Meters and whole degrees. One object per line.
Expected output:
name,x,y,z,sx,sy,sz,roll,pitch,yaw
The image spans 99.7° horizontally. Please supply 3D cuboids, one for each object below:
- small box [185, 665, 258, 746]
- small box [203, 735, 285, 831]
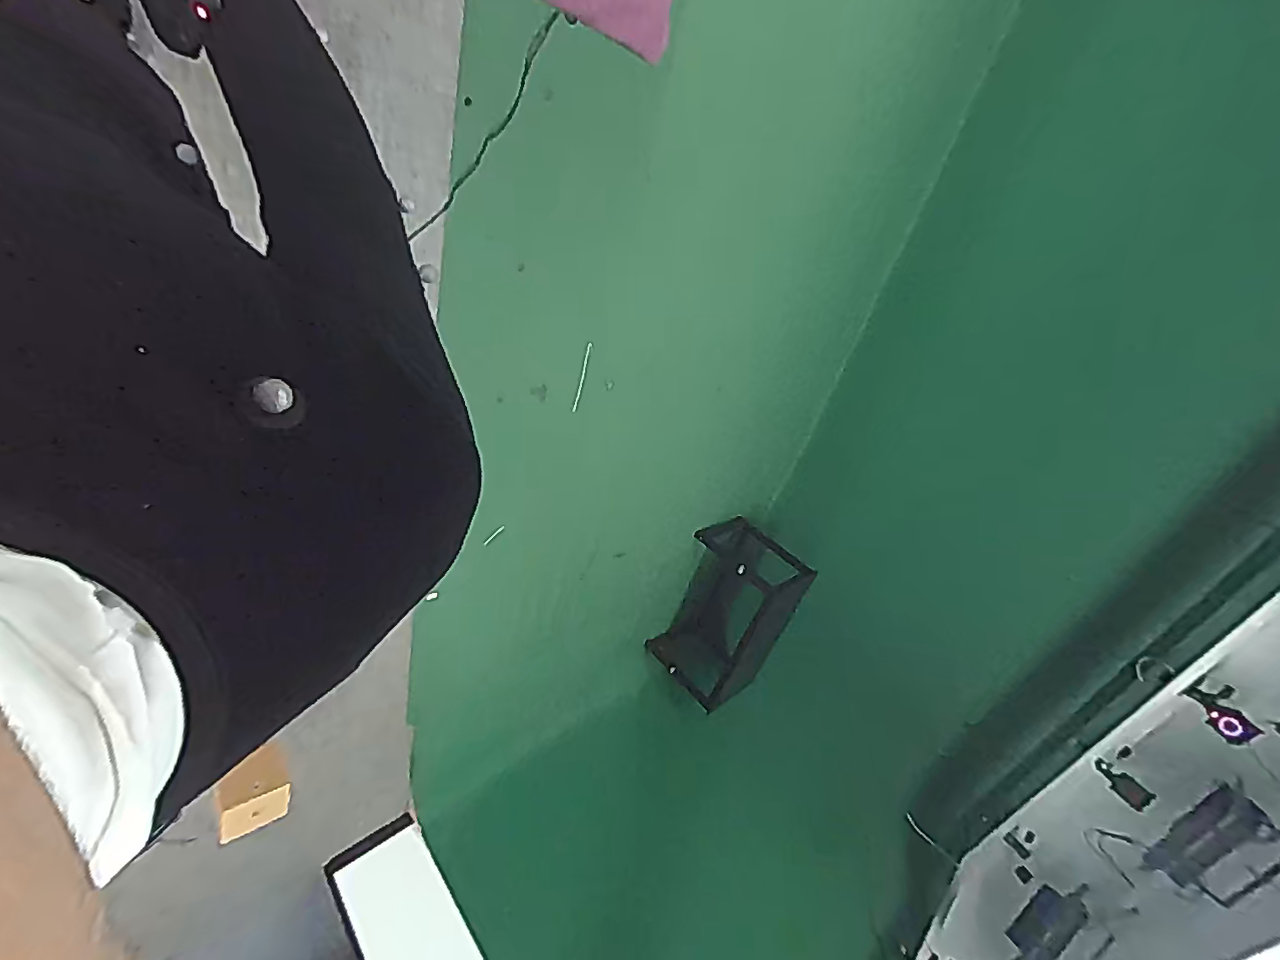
small box,-1.466,0.782,1.895,0.179,0.176,0.168,-9,129,-45
small box,-1.253,0.948,1.709,0.179,0.176,0.168,-6,127,-47
